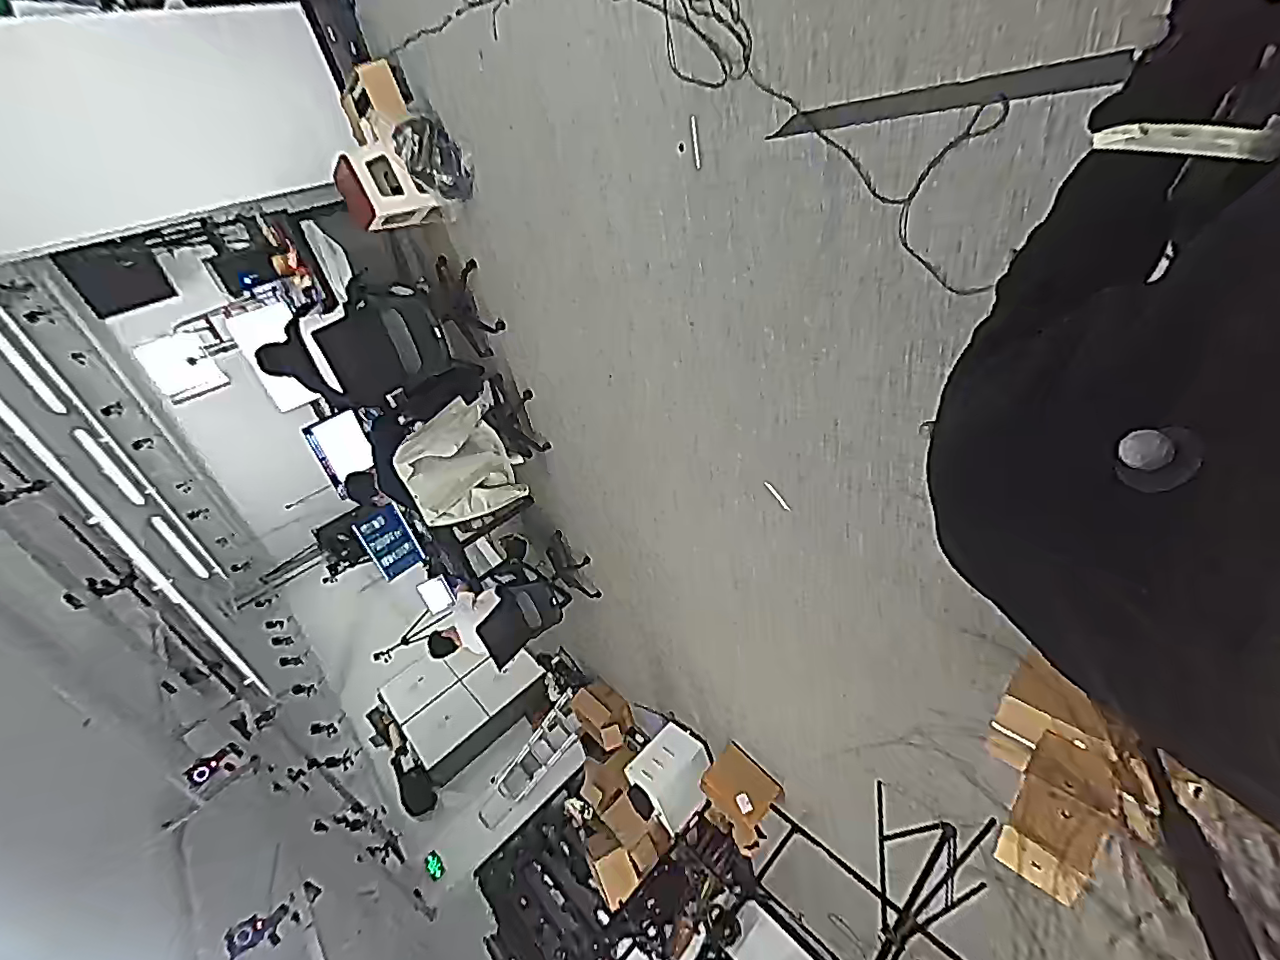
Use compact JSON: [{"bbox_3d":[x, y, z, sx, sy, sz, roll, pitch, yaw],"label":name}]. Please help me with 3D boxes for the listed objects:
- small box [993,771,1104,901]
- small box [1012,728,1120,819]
[{"bbox_3d":[1.010,0.875,1.341,0.168,0.176,0.179,23,136,43],"label":"small box"},{"bbox_3d":[1.126,0.801,1.428,0.179,0.176,0.168,23,136,45],"label":"small box"}]
